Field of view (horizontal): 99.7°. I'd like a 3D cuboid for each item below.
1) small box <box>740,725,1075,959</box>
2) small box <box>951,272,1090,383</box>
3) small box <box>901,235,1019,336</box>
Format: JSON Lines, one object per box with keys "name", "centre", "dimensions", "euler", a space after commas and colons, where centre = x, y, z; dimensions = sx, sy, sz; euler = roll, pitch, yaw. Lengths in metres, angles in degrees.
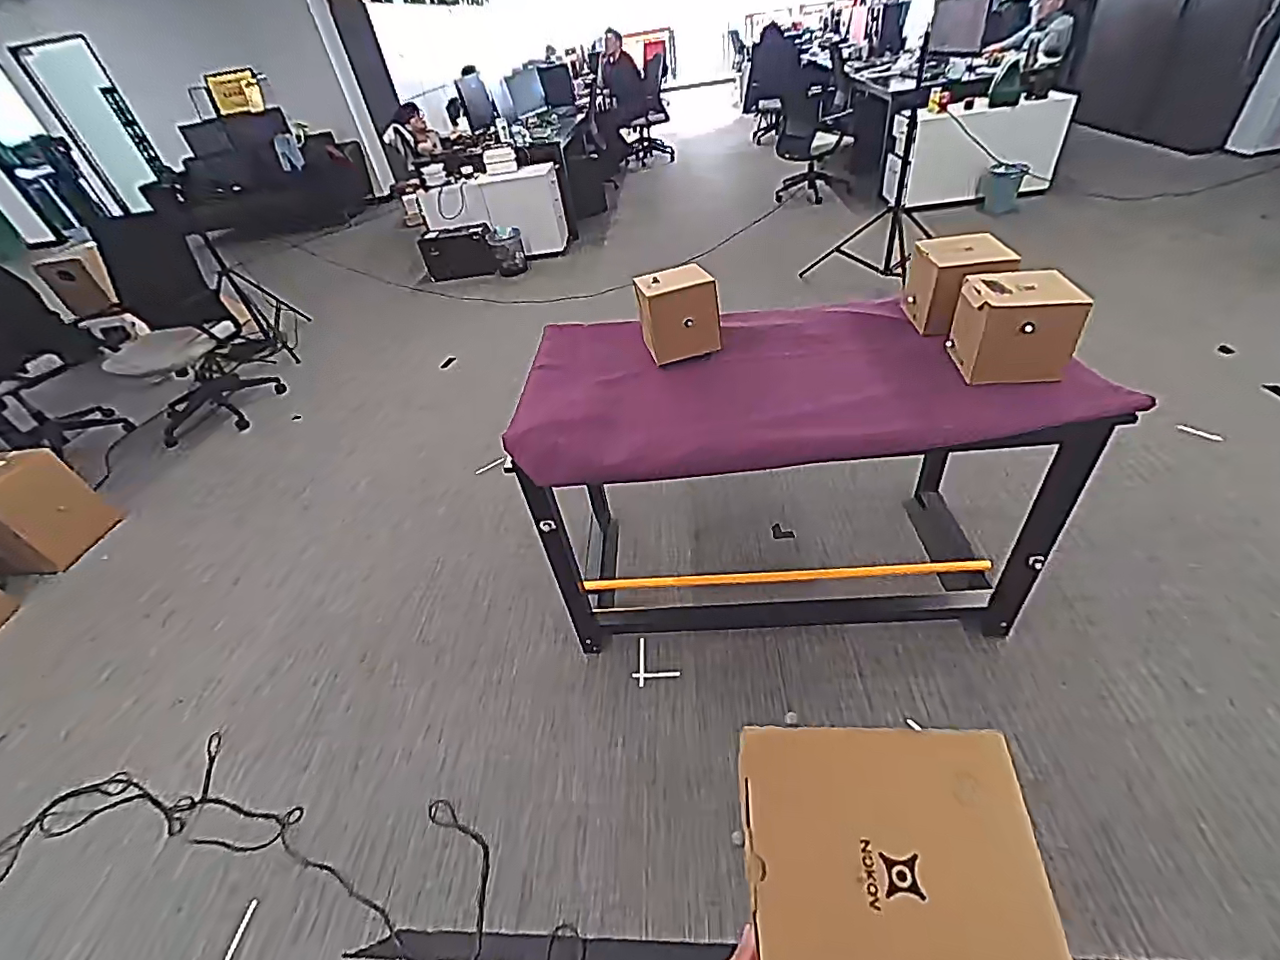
{"name": "small box", "centre": [0.168, 0.281, 0.397], "dimensions": [0.179, 0.176, 0.168], "euler": [-4, 57, 8]}
{"name": "small box", "centre": [0.763, -0.310, 1.114], "dimensions": [0.179, 0.176, 0.168], "euler": [-1, 40, 11]}
{"name": "small box", "centre": [0.752, -0.463, 1.293], "dimensions": [0.179, 0.176, 0.168], "euler": [-4, 41, 6]}
